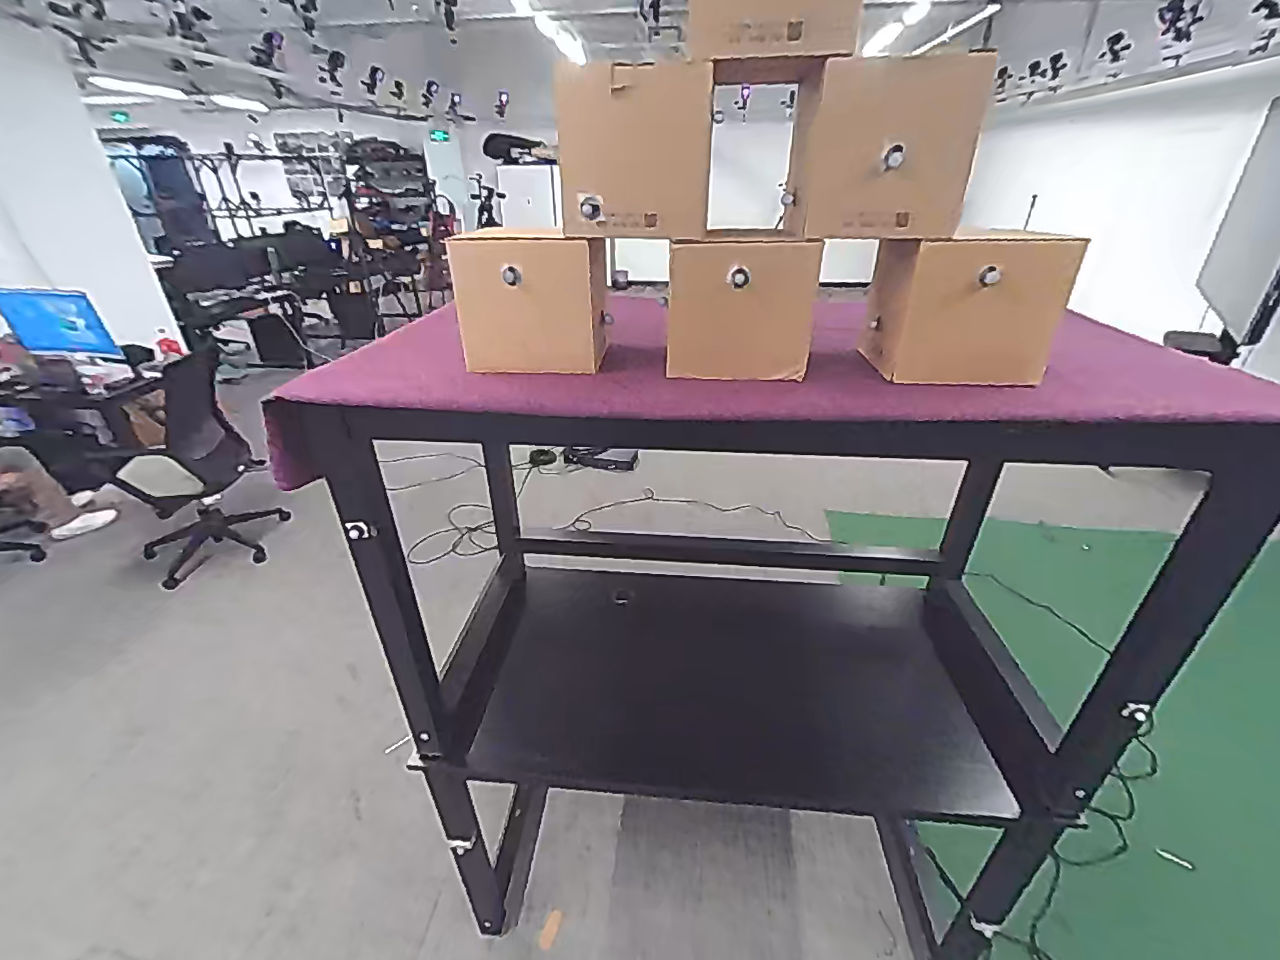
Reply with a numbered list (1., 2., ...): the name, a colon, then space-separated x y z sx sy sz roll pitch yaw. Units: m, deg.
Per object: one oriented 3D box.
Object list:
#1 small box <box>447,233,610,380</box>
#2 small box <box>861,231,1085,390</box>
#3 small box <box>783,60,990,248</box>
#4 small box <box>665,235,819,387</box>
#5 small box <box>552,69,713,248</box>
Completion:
1. small box: -0.140 -0.243 0.750 0.179 0.176 0.168 1 30 4
2. small box: 0.403 -0.219 0.694 0.179 0.176 0.168 1 28 6
3. small box: 0.268 -0.371 0.637 0.168 0.176 0.179 2 29 5
4. small box: 0.126 -0.227 0.717 0.179 0.176 0.168 3 29 6
5. small box: 0.001 -0.383 0.663 0.168 0.176 0.179 4 29 7
